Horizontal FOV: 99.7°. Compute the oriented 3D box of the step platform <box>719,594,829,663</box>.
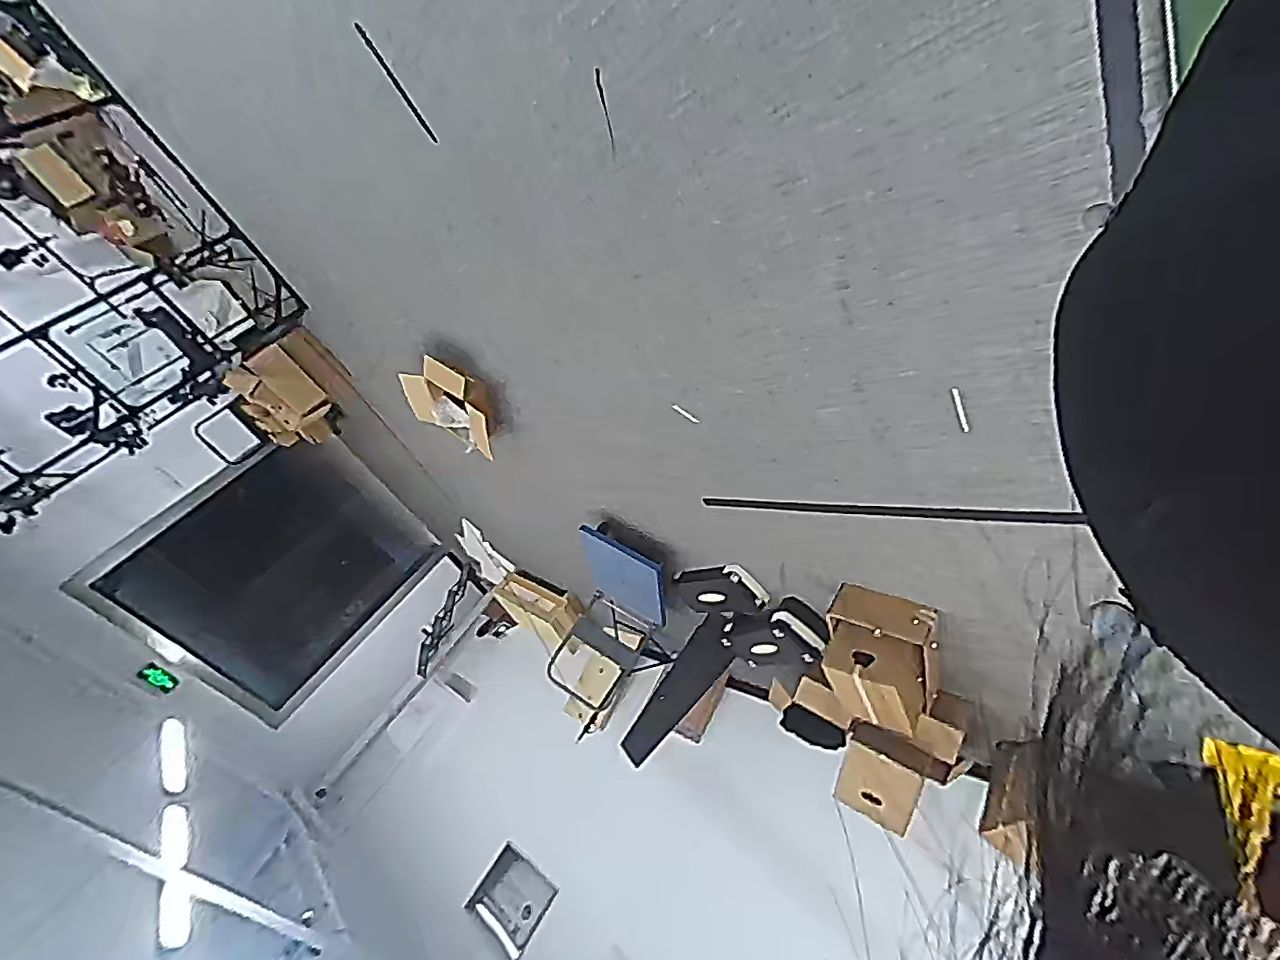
[{"bbox_3d":[0.715,0.839,2.987,0.286,0.204,0.684,40,150,-2],"label":"step platform"}]
